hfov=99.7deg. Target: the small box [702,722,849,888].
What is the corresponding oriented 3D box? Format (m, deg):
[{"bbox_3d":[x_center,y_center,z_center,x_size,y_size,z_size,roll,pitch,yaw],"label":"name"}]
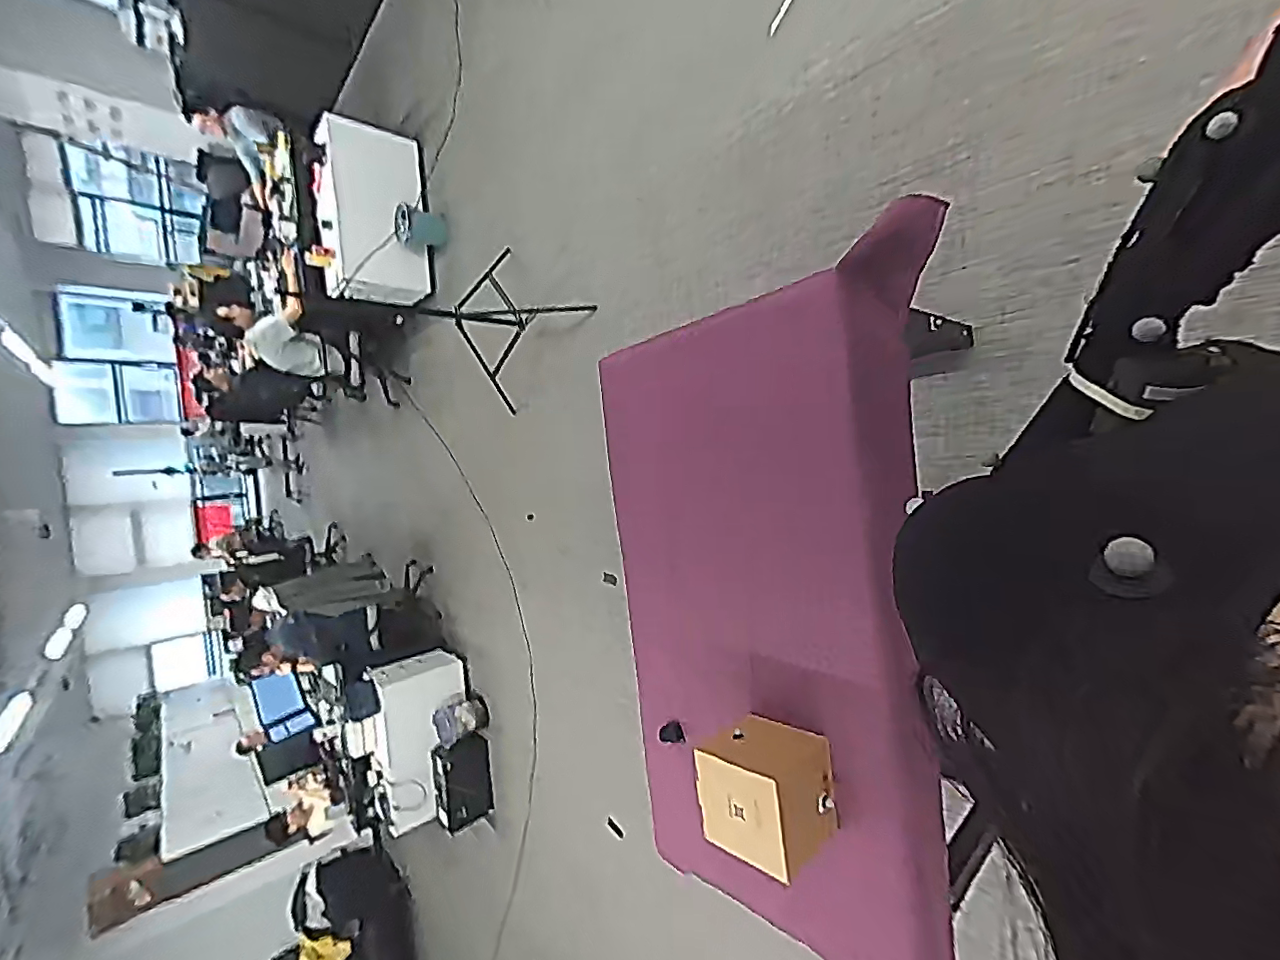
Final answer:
[{"bbox_3d":[0.235,0.544,0.941,0.179,0.176,0.168,-8,90,48],"label":"small box"}]
